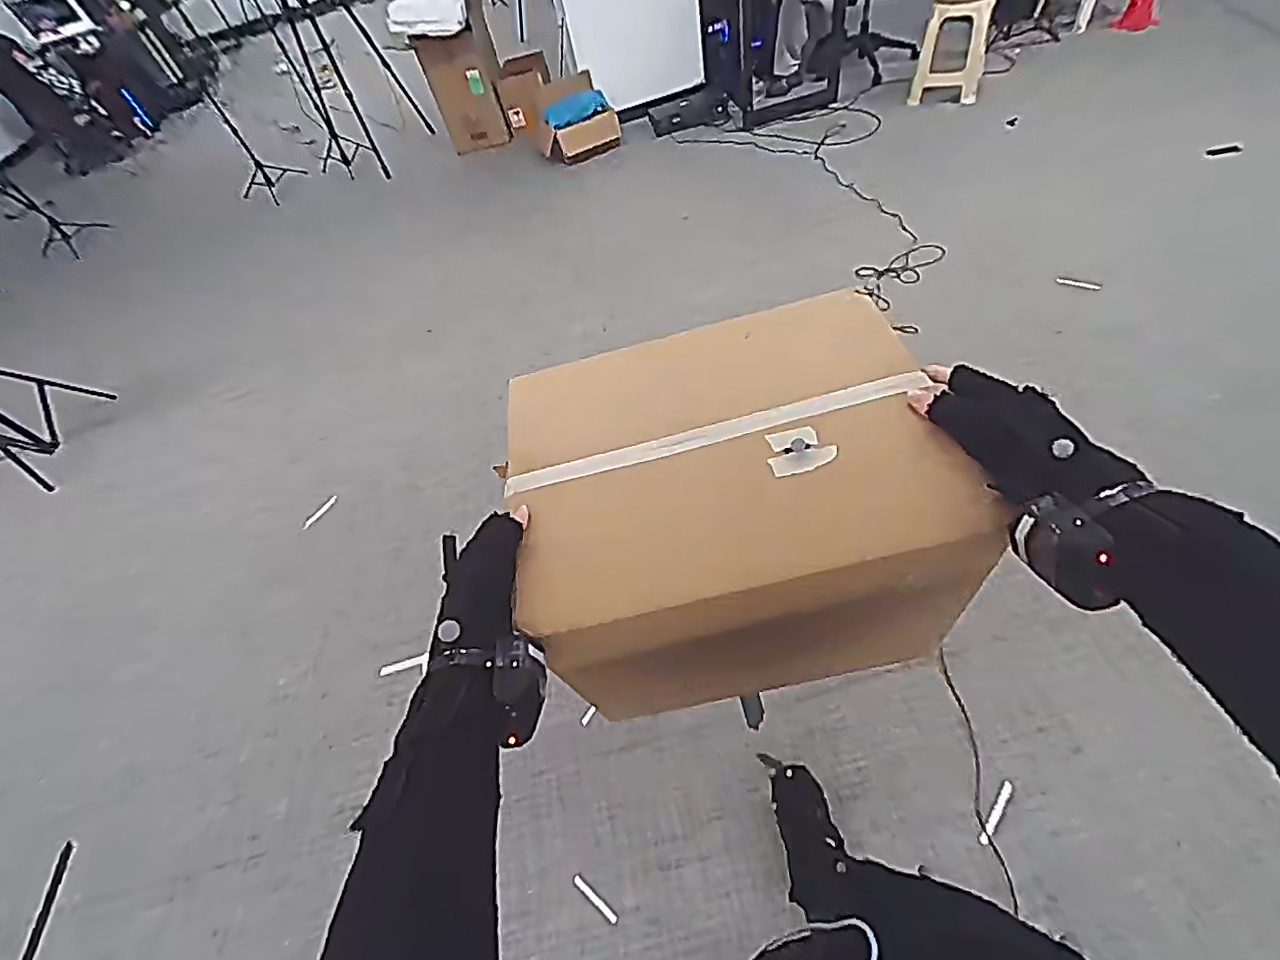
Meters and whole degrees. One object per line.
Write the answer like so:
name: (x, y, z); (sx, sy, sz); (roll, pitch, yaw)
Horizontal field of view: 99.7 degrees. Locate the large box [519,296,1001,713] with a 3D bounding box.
large box: (0.102, 0.045, 0.647); (0.408, 0.320, 0.320); (-14, 53, 3)
